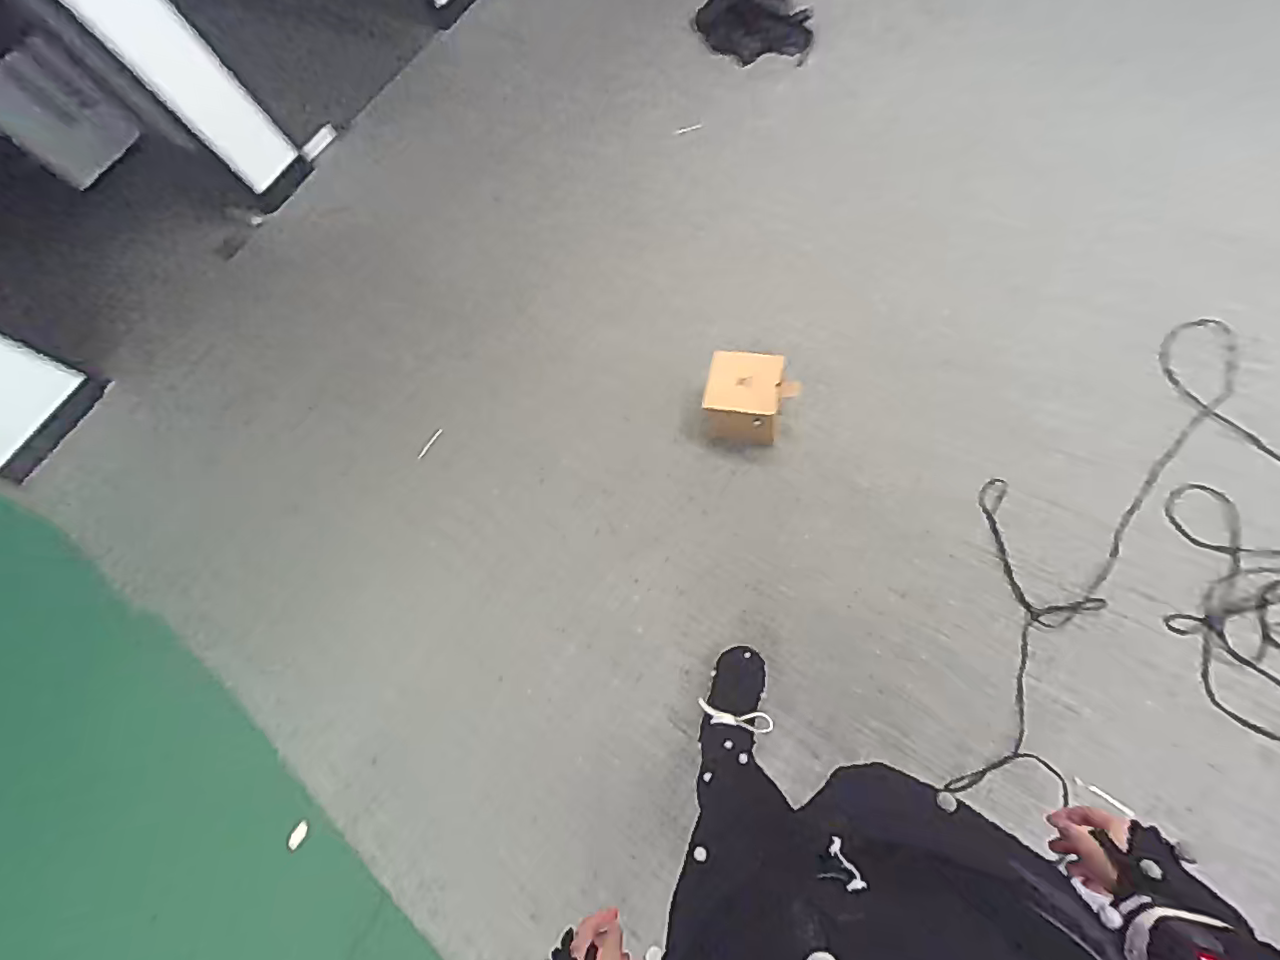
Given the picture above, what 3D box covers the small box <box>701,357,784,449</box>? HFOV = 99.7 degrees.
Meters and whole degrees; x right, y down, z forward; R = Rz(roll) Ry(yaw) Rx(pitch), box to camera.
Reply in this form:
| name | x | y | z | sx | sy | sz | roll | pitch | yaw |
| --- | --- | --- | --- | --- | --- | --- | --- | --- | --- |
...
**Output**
| name | x | y | z | sx | sy | sz | roll | pitch | yaw |
| --- | --- | --- | --- | --- | --- | --- | --- | --- | --- |
| small box | 0.265 | -0.193 | 1.377 | 0.179 | 0.176 | 0.168 | 9 | 70 | 16 |
